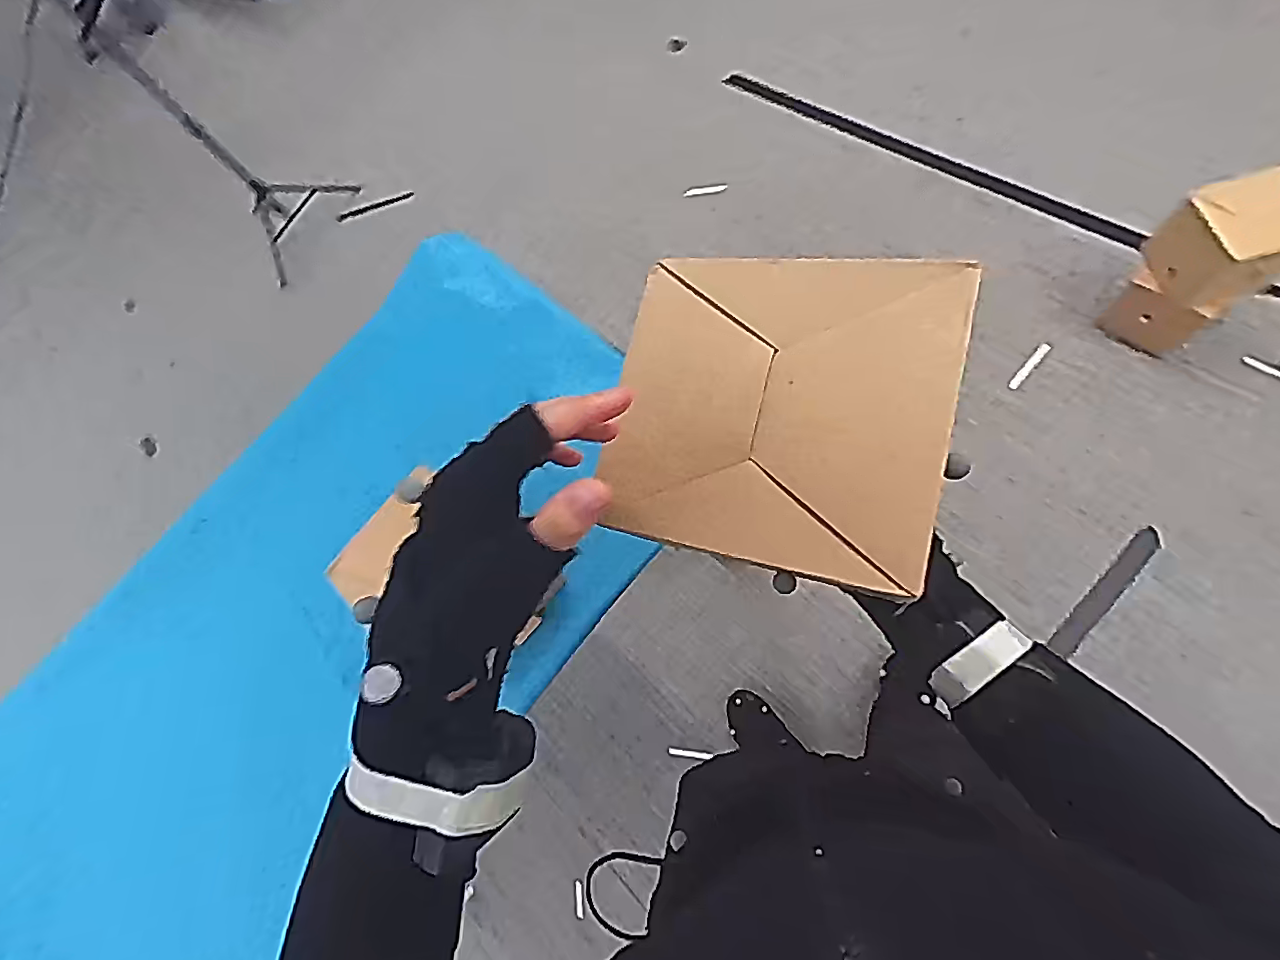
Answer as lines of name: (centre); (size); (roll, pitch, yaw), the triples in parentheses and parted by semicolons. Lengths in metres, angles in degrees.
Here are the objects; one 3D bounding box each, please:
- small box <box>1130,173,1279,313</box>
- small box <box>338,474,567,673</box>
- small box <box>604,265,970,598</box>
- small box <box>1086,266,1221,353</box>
small box: (1.193, -0.485, 1.119); (0.168, 0.176, 0.179); (-14, 69, 9)
small box: (-0.228, 0.121, 0.671); (0.179, 0.176, 0.168); (38, 85, 22)
small box: (0.103, -0.024, 0.359); (0.179, 0.176, 0.168); (12, 81, 25)
small box: (1.223, -0.426, 1.273); (0.179, 0.176, 0.168); (42, 86, 22)
